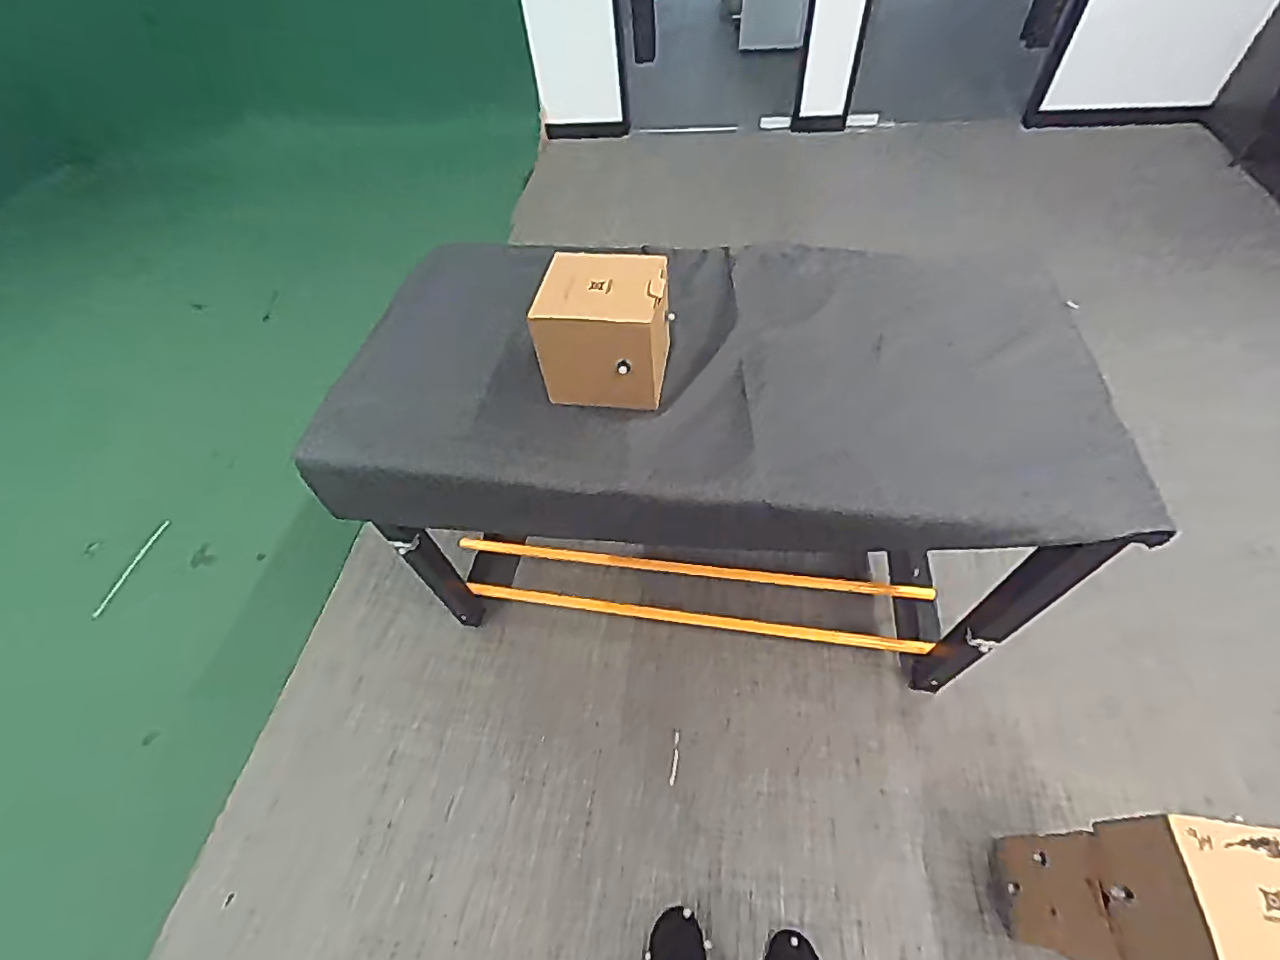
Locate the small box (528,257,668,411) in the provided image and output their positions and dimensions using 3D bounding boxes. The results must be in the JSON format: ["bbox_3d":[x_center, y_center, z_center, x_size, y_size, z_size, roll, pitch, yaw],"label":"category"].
[{"bbox_3d":[-0.052,-0.224,0.843,0.179,0.176,0.168,4,52,9],"label":"small box"}]

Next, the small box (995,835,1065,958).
[{"bbox_3d":[0.772,0.745,0.954,0.179,0.176,0.168,5,53,9],"label":"small box"}]

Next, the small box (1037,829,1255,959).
[{"bbox_3d":[0.748,0.648,0.823,0.179,0.176,0.168,4,54,7],"label":"small box"}]
